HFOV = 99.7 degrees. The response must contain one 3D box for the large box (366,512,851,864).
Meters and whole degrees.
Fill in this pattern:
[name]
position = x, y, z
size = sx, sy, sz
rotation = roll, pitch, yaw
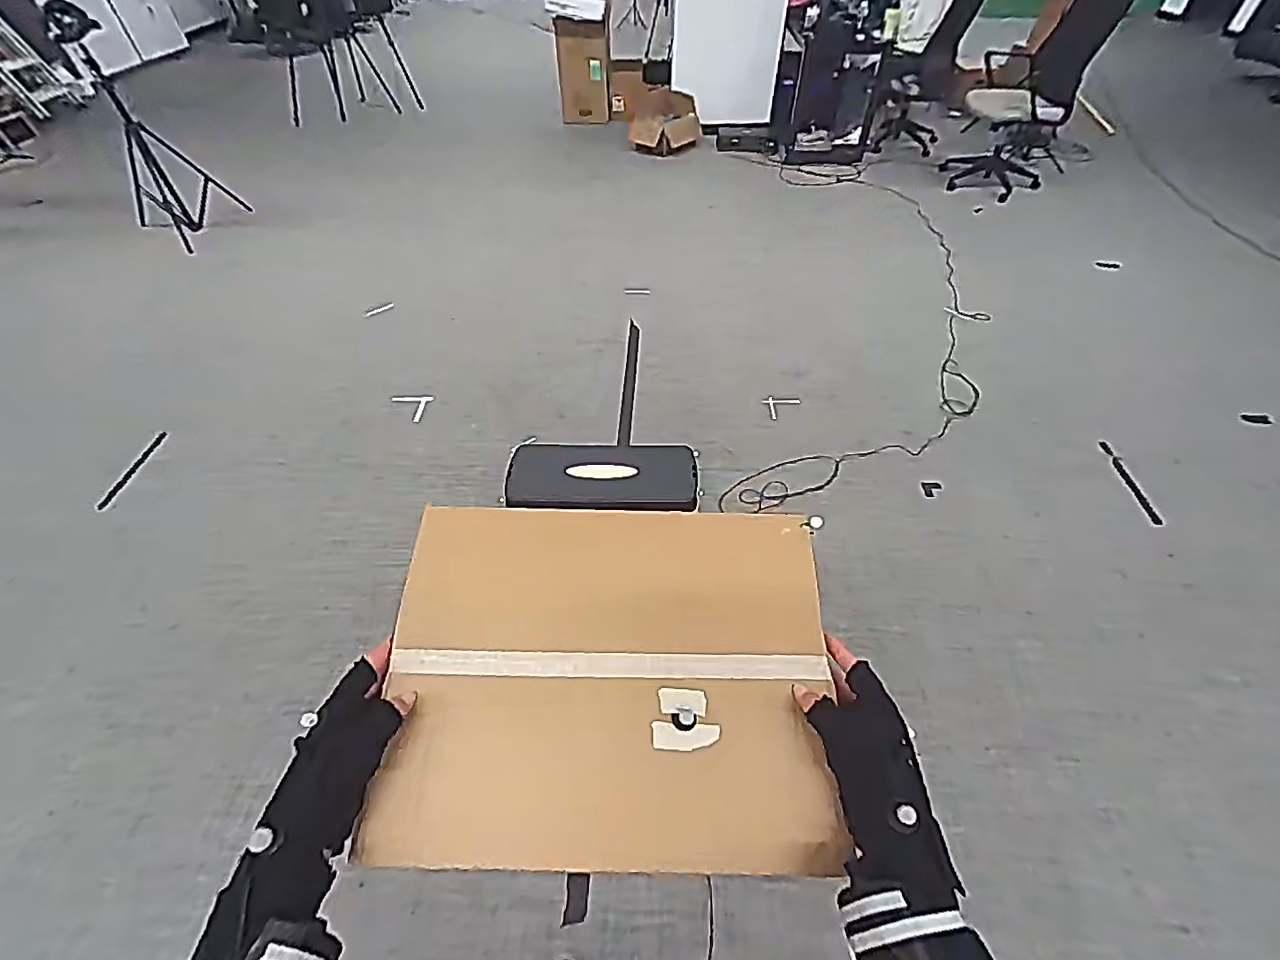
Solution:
[large box]
position = -0.028, 0.243, 0.637
size = 0.408, 0.320, 0.320
rotation = 2, 62, -1
